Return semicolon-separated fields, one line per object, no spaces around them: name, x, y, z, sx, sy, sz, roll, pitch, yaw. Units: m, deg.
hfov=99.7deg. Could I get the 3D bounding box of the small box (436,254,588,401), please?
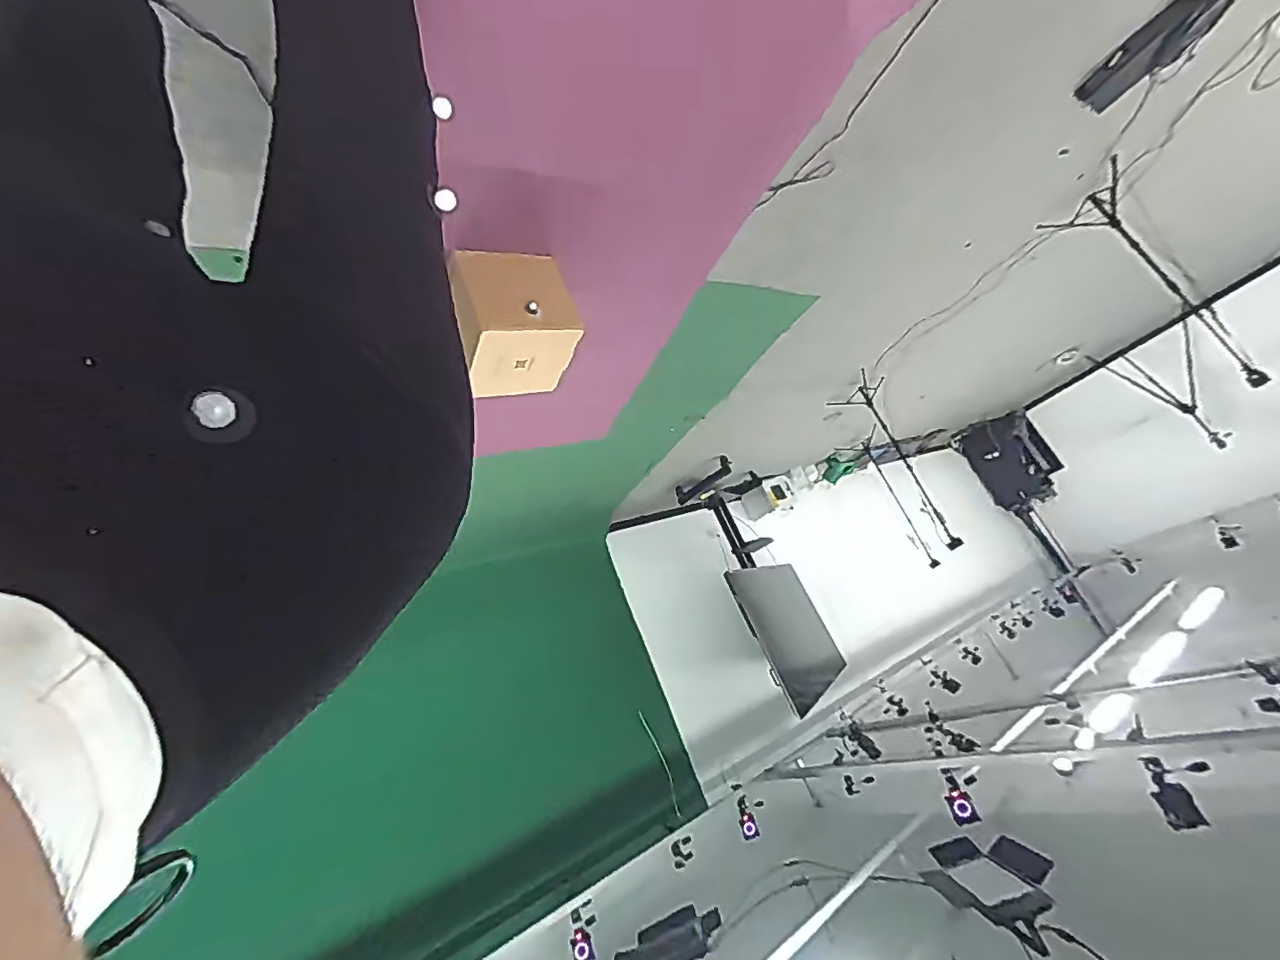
small box;-0.219;-0.253;0.904;0.179;0.176;0.168;-11;157;-35
